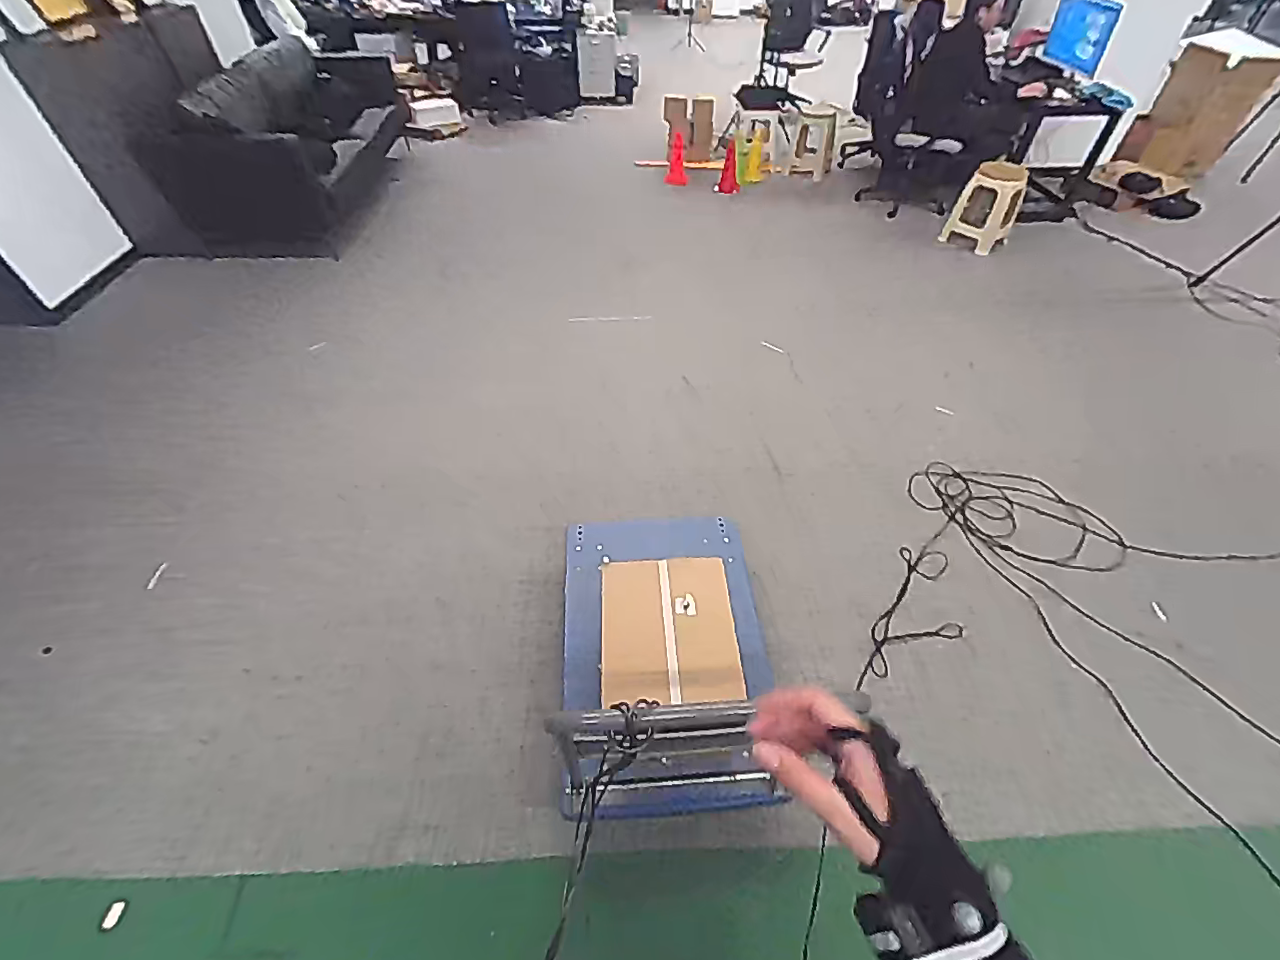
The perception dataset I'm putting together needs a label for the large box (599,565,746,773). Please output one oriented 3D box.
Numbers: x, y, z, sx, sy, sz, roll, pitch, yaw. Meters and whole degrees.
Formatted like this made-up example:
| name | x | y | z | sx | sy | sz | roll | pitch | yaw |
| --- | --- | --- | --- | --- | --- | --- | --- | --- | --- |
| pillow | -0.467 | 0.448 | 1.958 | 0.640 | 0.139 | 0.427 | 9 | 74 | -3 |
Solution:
| name | x | y | z | sx | sy | sz | roll | pitch | yaw |
| --- | --- | --- | --- | --- | --- | --- | --- | --- | --- |
| large box | 0.061 | 0.473 | 1.369 | 0.320 | 0.320 | 0.408 | -1 | 46 | -2 |
